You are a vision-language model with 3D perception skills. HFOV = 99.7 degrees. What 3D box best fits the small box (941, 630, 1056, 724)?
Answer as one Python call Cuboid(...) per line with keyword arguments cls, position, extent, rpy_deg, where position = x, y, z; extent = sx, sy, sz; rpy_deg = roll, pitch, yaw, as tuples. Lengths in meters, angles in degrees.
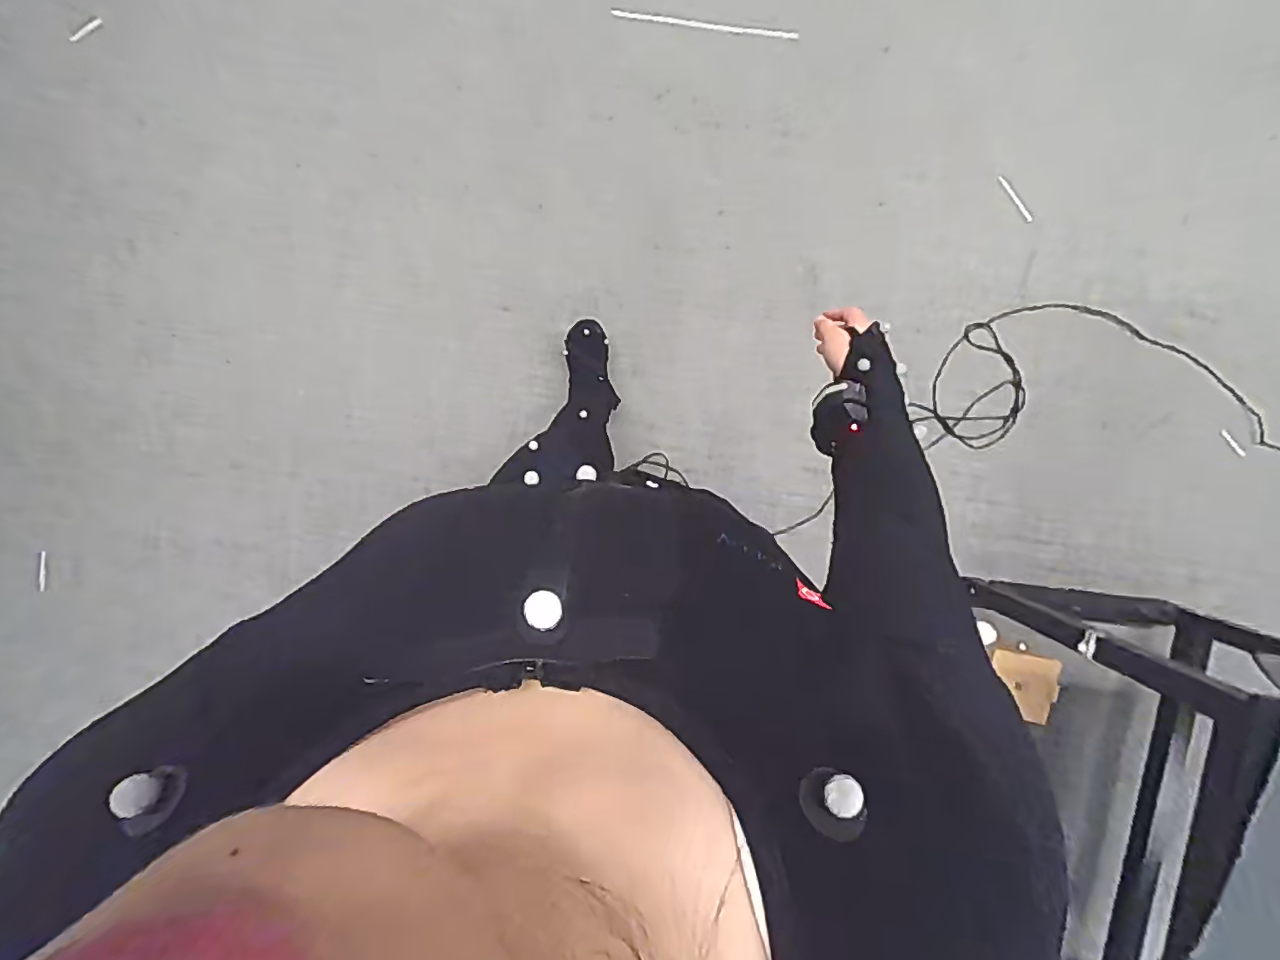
Cuboid(cls="small box", position=(0.934, 0.511, 1.428), extent=(0.179, 0.176, 0.168), rpy_deg=(12, 94, -2))
